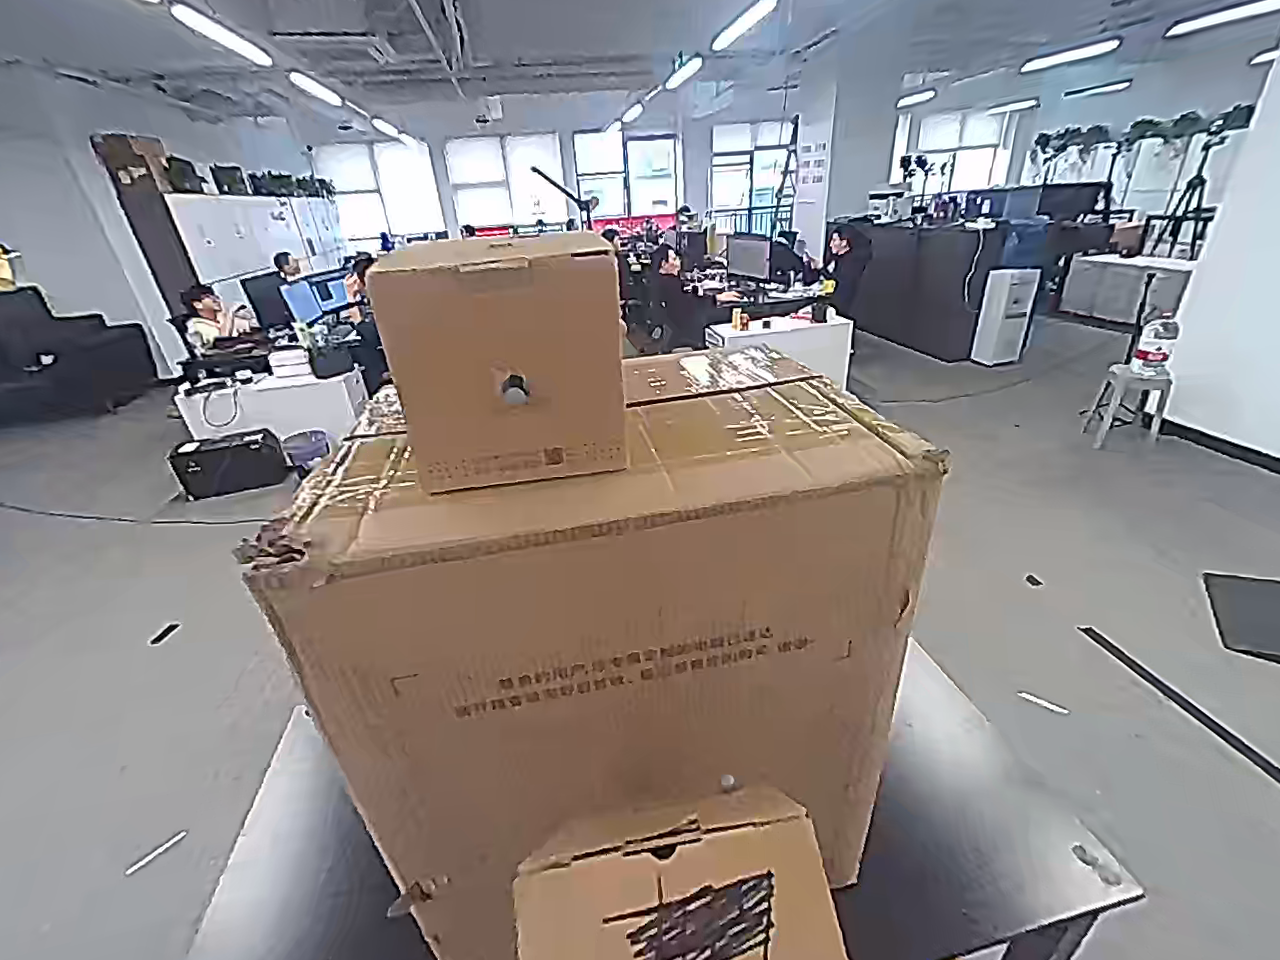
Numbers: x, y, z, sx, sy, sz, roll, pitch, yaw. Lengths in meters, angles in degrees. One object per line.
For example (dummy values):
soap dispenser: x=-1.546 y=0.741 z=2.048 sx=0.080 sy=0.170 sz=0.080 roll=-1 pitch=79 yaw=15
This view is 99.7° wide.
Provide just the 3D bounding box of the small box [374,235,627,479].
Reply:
small box: x=-0.107 y=-0.109 z=0.476 sx=0.168 sy=0.176 sz=0.179 roll=-7 pitch=30 yaw=-8

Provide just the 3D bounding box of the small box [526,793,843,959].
small box: x=0.032 y=0.311 z=0.342 sx=0.168 sy=0.176 sz=0.179 roll=-11 pitch=63 yaw=-1
